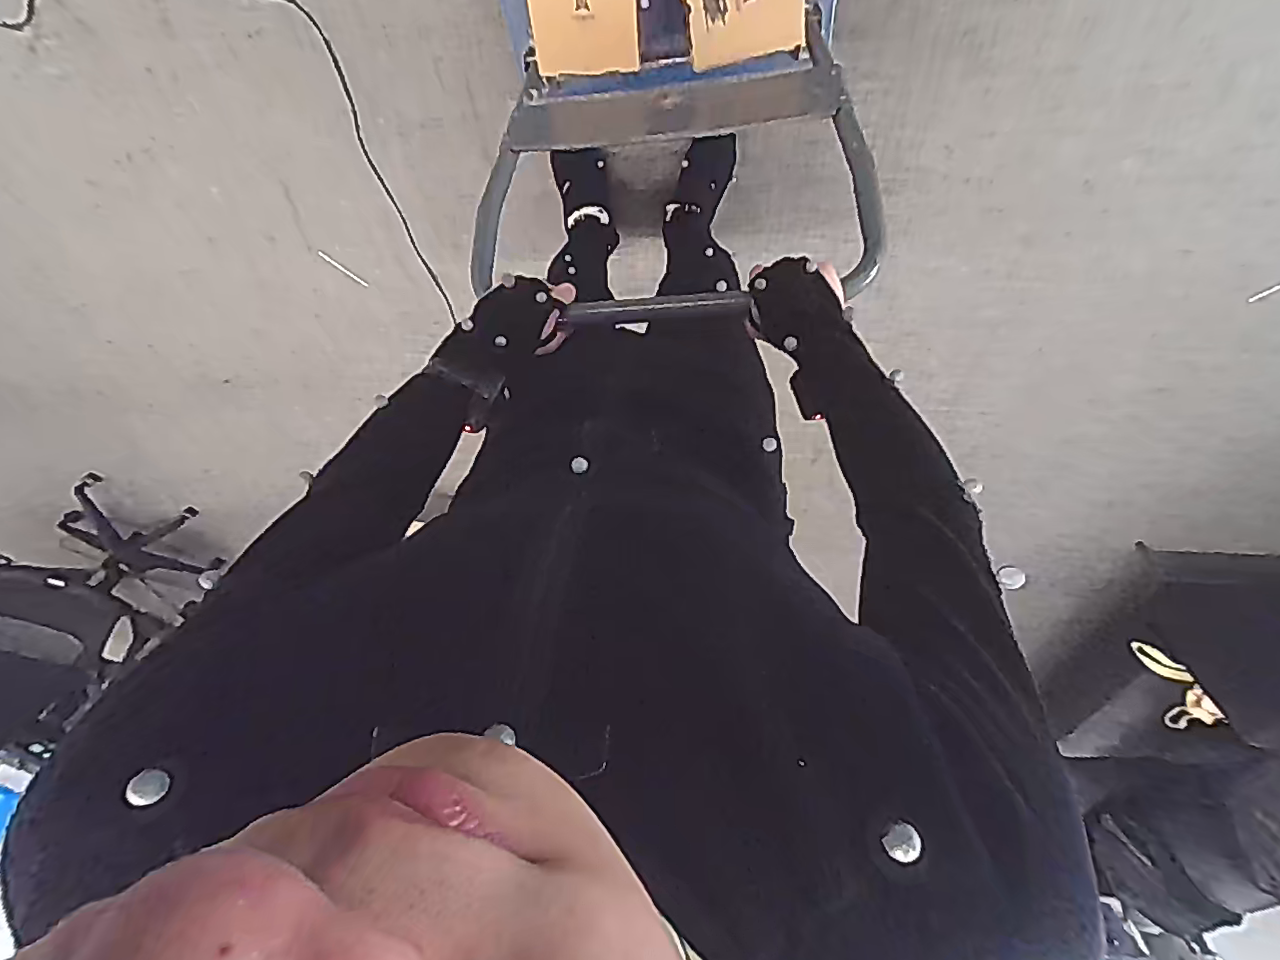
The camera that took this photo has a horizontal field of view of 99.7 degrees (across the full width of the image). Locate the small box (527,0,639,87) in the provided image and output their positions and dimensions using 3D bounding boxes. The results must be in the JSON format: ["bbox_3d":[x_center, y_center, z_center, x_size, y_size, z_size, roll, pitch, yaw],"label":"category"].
[{"bbox_3d":[-0.087,-0.768,0.870,0.168,0.176,0.179,0,144,3],"label":"small box"}]
